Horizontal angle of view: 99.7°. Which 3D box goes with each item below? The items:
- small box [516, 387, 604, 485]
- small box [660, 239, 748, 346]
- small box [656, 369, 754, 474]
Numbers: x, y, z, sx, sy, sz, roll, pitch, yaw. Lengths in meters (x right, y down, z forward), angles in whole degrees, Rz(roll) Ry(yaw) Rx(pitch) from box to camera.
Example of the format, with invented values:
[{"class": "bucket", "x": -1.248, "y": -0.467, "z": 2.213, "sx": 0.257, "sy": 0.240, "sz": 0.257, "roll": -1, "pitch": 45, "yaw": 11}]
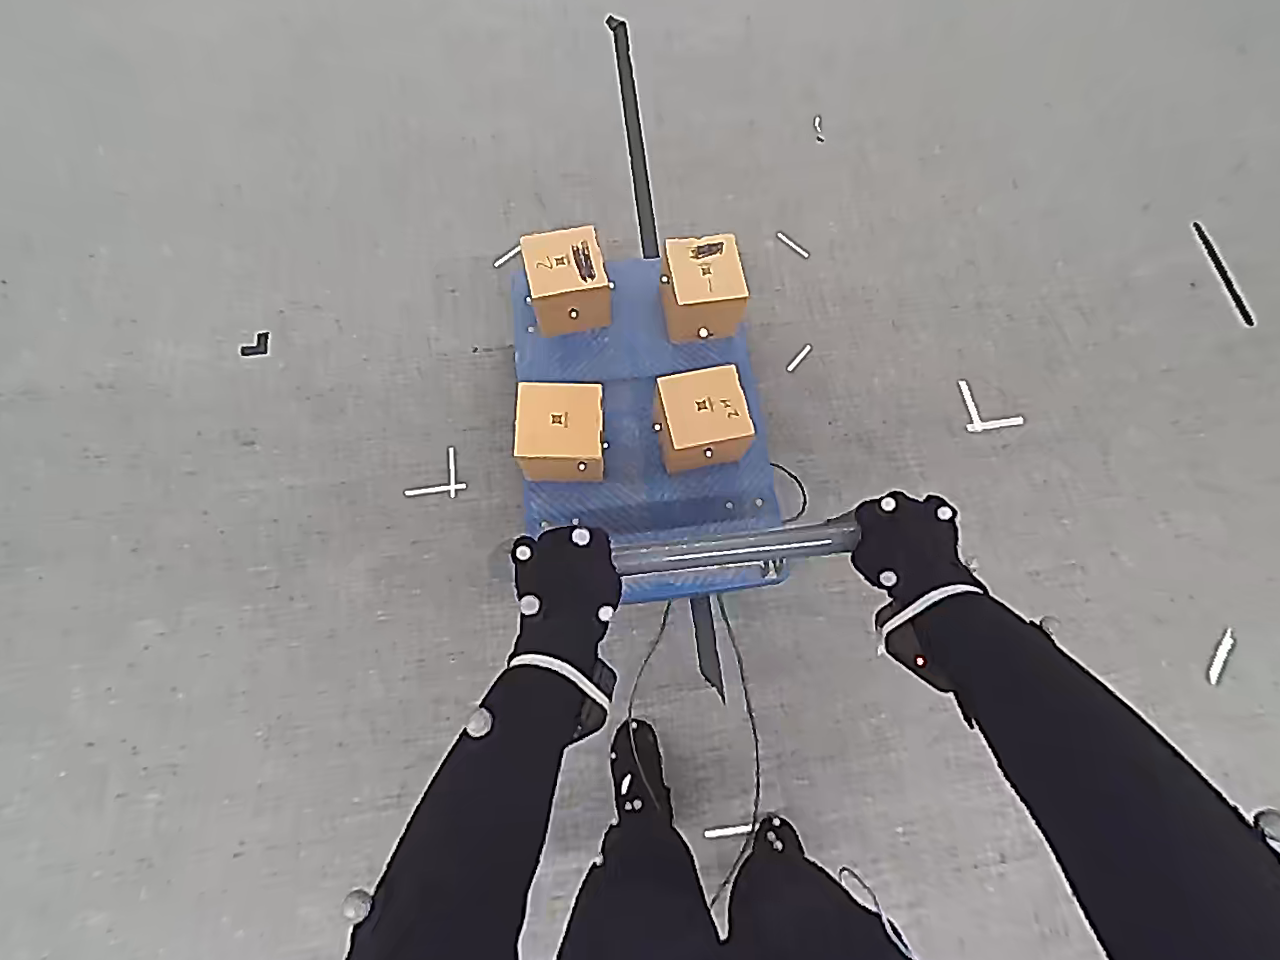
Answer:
[{"class": "small box", "x": -0.167, "y": -0.090, "z": 1.185, "sx": 0.179, "sy": 0.176, "sz": 0.168, "roll": 0, "pitch": 73, "yaw": -4}, {"class": "small box", "x": 0.146, "y": -0.449, "z": 1.308, "sx": 0.168, "sy": 0.176, "sz": 0.179, "roll": -9, "pitch": 75, "yaw": -5}, {"class": "small box", "x": 0.135, "y": -0.123, "z": 1.209, "sx": 0.179, "sy": 0.176, "sz": 0.168, "roll": -11, "pitch": 74, "yaw": -6}]
